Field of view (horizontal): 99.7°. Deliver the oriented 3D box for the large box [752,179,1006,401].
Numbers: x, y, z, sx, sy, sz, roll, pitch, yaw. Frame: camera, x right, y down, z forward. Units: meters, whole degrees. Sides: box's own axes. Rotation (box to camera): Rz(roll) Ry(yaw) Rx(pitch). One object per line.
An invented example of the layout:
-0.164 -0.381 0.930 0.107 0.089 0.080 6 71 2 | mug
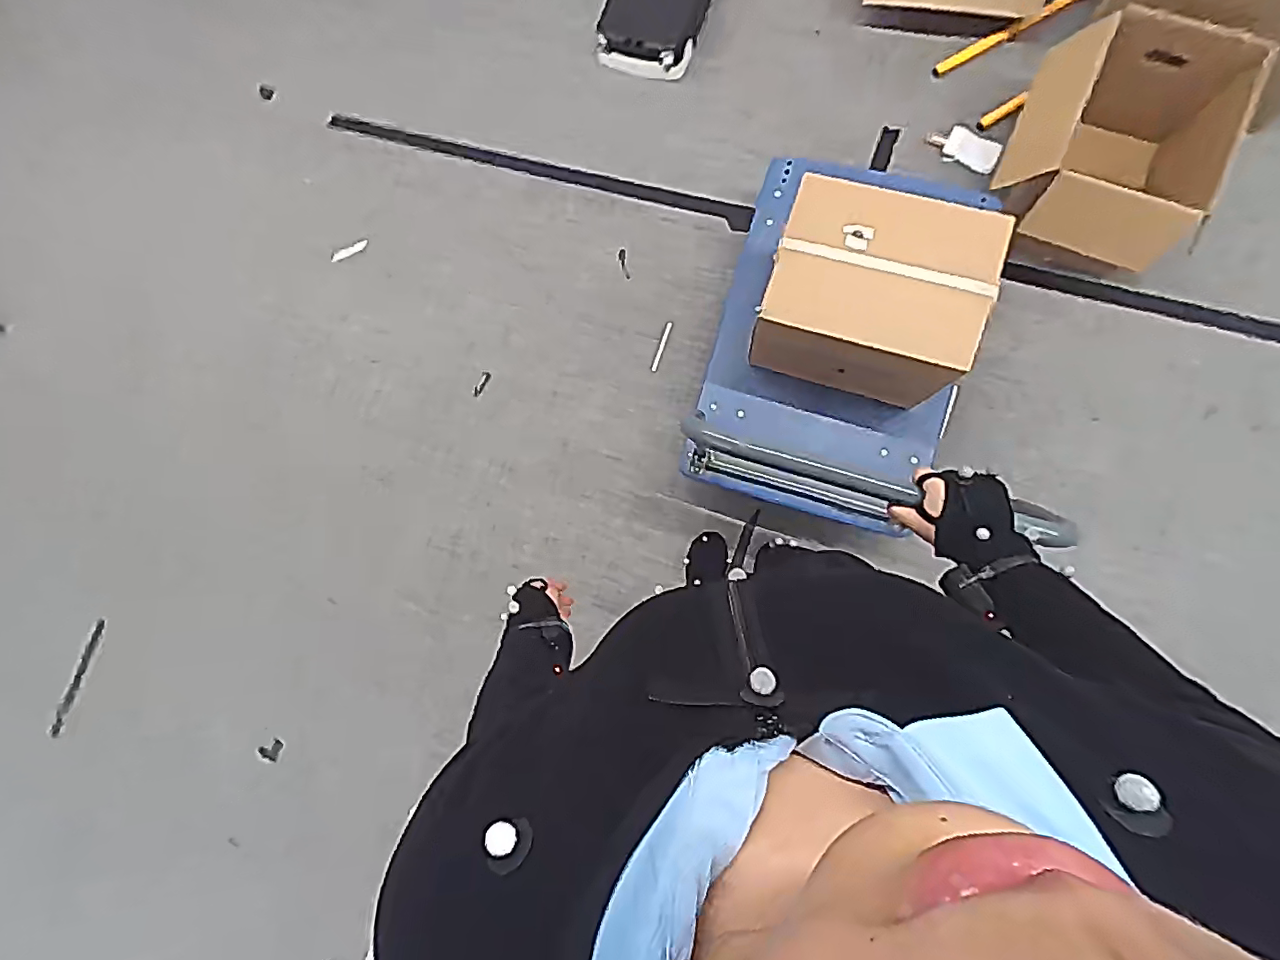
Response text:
0.491 -0.398 1.199 0.408 0.320 0.320 17 86 10 | large box
